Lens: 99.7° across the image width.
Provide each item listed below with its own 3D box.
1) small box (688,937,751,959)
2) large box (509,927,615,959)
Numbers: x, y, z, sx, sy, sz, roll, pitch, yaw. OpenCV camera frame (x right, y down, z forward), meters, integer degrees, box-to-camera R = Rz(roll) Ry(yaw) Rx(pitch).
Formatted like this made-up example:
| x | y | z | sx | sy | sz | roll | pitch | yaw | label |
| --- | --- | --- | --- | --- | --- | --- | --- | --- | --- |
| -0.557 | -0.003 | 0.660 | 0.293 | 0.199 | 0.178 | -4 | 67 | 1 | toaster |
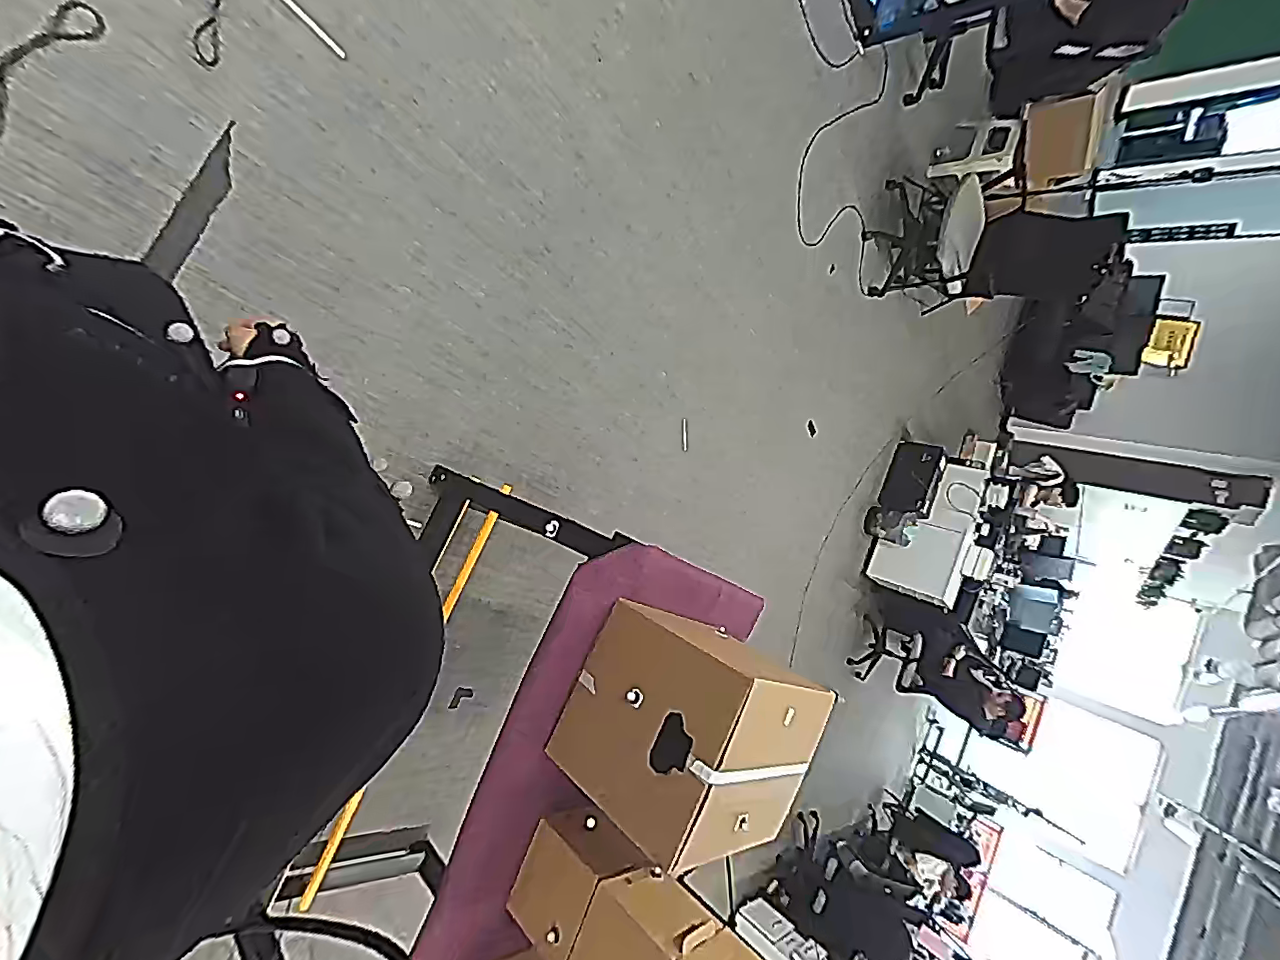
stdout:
| x | y | z | sx | sy | sz | roll | pitch | yaw | label |
| --- | --- | --- | --- | --- | --- | --- | --- | --- | --- |
| 0.126 | 0.842 | 0.804 | 0.179 | 0.176 | 0.168 | 25 | 85 | -48 | small box |
| -0.183 | 1.101 | 0.951 | 0.408 | 0.320 | 0.320 | 33 | 79 | -50 | large box |
